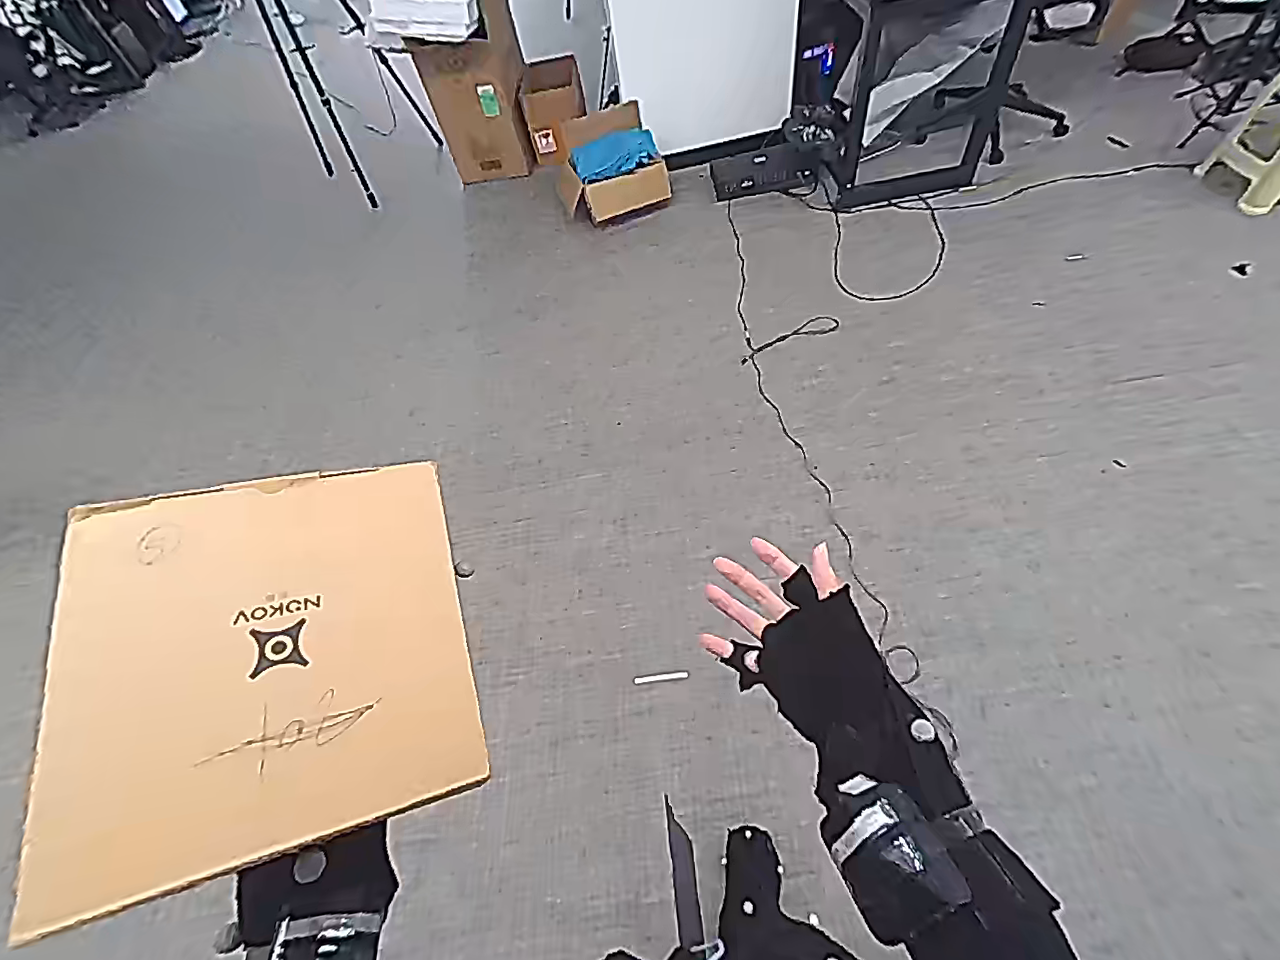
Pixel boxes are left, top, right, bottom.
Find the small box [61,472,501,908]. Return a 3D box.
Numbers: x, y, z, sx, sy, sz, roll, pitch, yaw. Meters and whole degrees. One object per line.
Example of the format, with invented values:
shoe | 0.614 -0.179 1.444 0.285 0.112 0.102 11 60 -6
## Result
small box | -0.188 0.118 0.333 0.168 0.176 0.179 -9 64 -22
